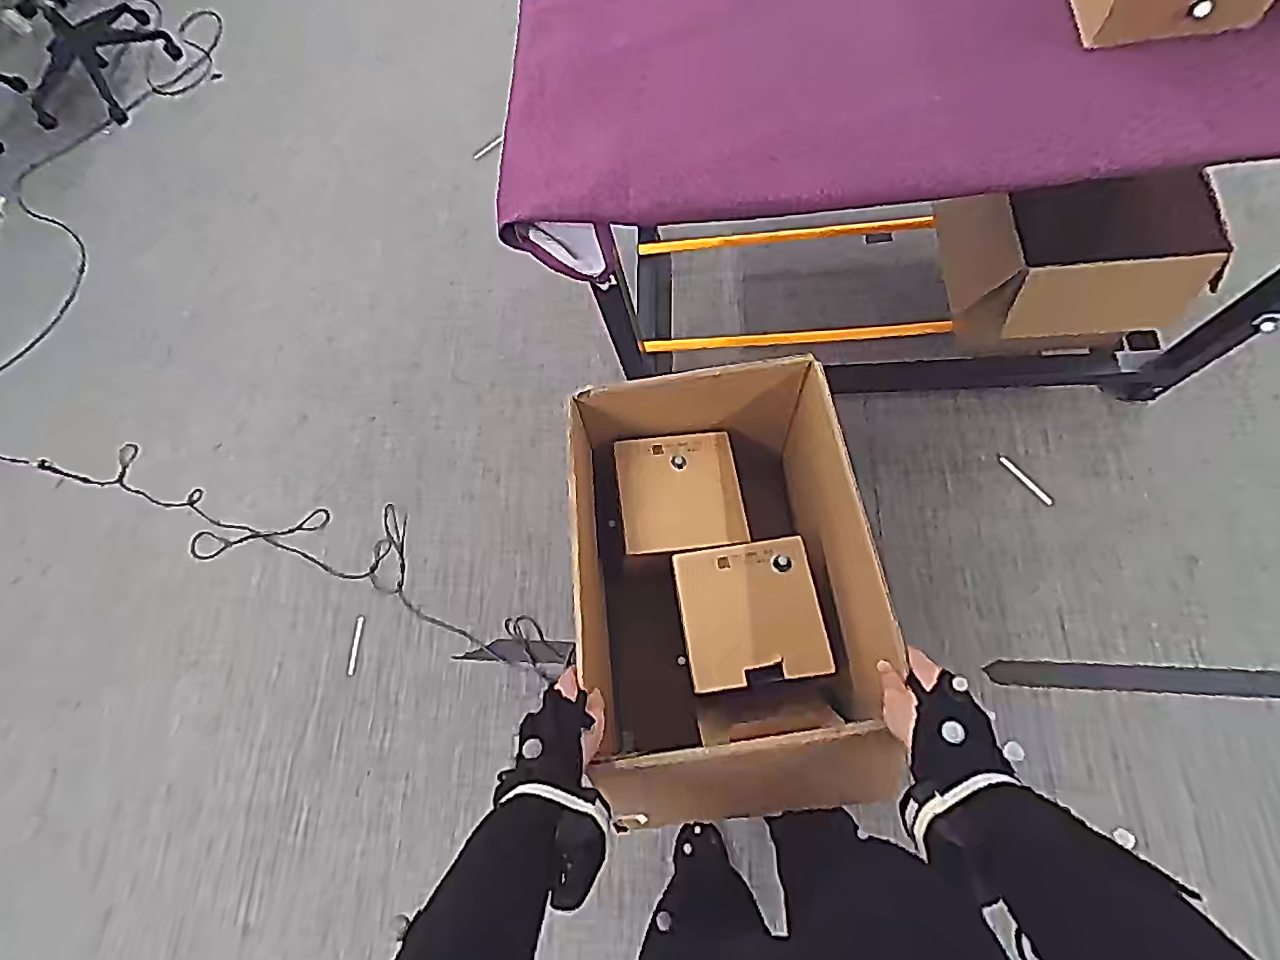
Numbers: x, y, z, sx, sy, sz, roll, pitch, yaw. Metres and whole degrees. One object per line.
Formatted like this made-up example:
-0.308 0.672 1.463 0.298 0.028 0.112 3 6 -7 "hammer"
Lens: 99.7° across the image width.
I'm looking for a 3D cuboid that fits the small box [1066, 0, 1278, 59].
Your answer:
0.627 -0.626 0.607 0.179 0.176 0.168 0 71 10 "small box"
